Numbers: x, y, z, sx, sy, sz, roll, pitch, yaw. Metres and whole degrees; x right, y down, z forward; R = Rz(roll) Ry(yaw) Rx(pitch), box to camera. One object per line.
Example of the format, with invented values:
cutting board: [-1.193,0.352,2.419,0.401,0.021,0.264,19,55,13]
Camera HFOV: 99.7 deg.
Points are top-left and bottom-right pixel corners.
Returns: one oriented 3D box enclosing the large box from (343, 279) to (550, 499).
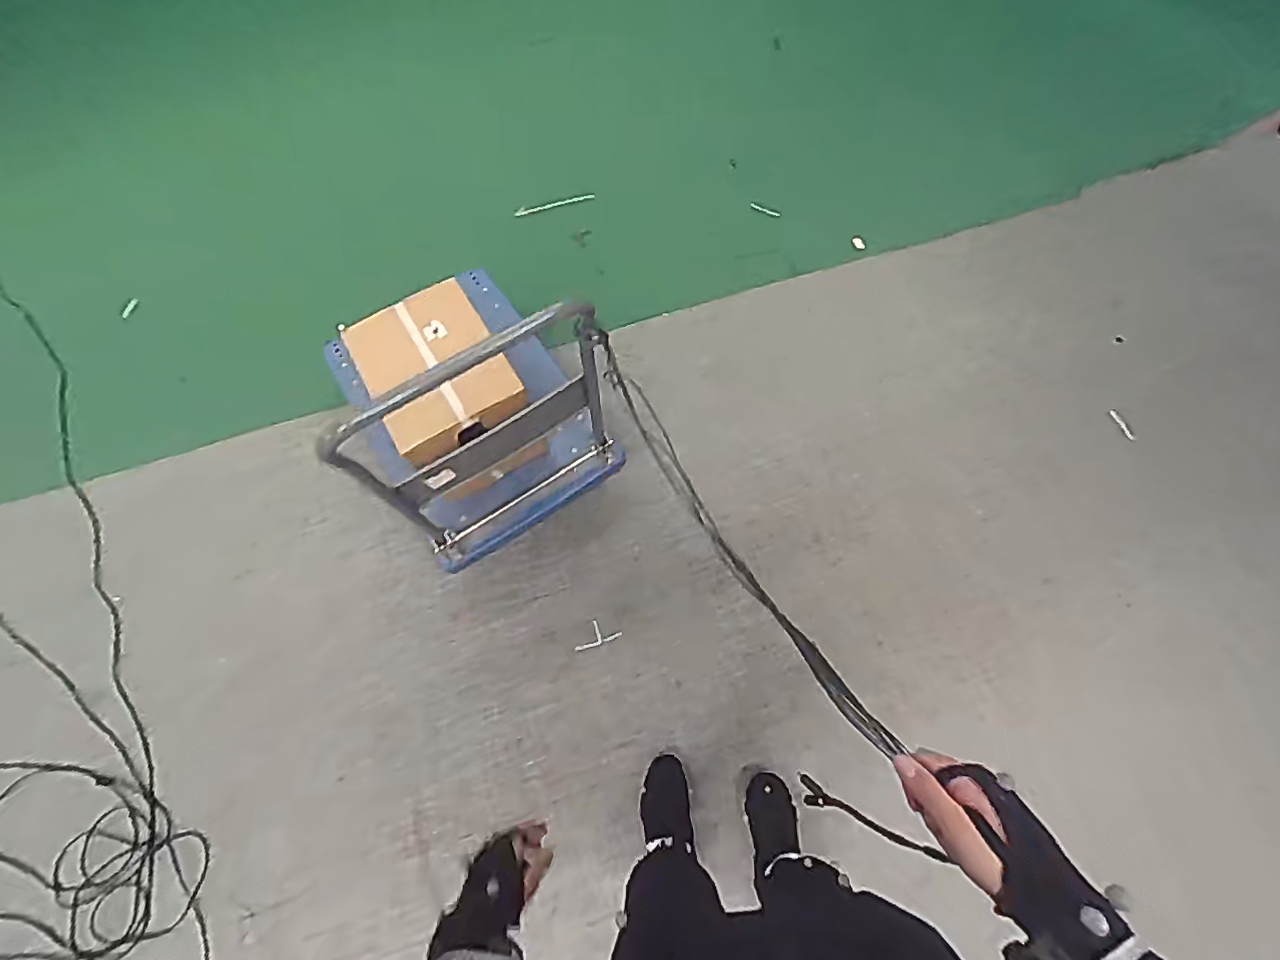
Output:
large box: [-0.485,-0.227,1.413,0.320,0.320,0.408,-30,68,-11]
